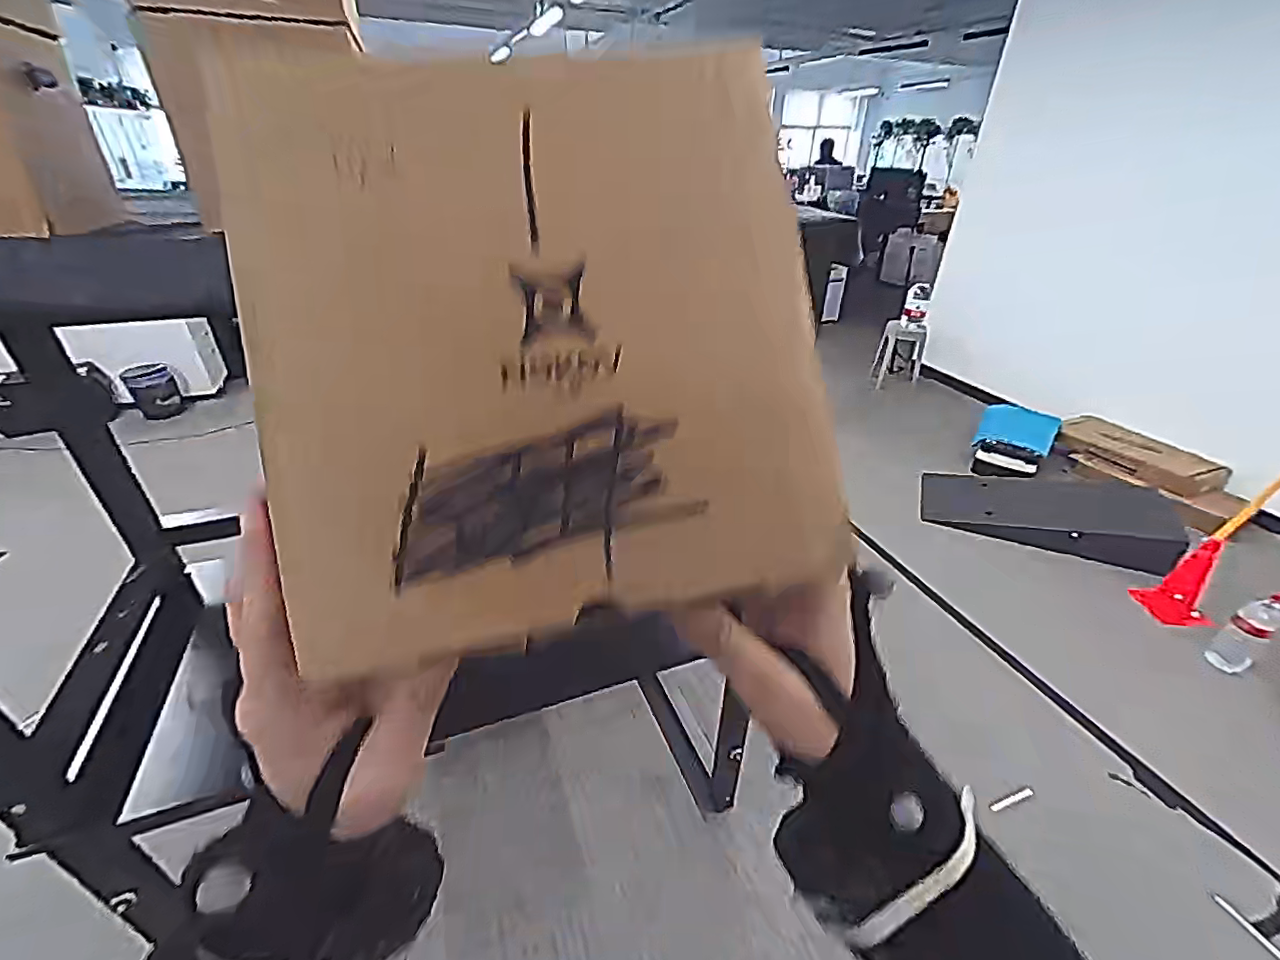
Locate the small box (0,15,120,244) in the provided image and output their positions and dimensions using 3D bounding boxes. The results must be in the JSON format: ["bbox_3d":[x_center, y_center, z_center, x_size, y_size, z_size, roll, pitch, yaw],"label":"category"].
[{"bbox_3d":[-0.618,-0.311,0.479,0.168,0.176,0.179,-10,32,-20],"label":"small box"}]

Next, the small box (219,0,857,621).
[{"bbox_3d":[-0.035,-0.056,0.239,0.168,0.179,0.176,-10,0,-10],"label":"small box"}]

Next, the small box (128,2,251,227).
[{"bbox_3d":[-0.364,-0.361,0.565,0.168,0.176,0.179,-11,32,-17],"label":"small box"}]
